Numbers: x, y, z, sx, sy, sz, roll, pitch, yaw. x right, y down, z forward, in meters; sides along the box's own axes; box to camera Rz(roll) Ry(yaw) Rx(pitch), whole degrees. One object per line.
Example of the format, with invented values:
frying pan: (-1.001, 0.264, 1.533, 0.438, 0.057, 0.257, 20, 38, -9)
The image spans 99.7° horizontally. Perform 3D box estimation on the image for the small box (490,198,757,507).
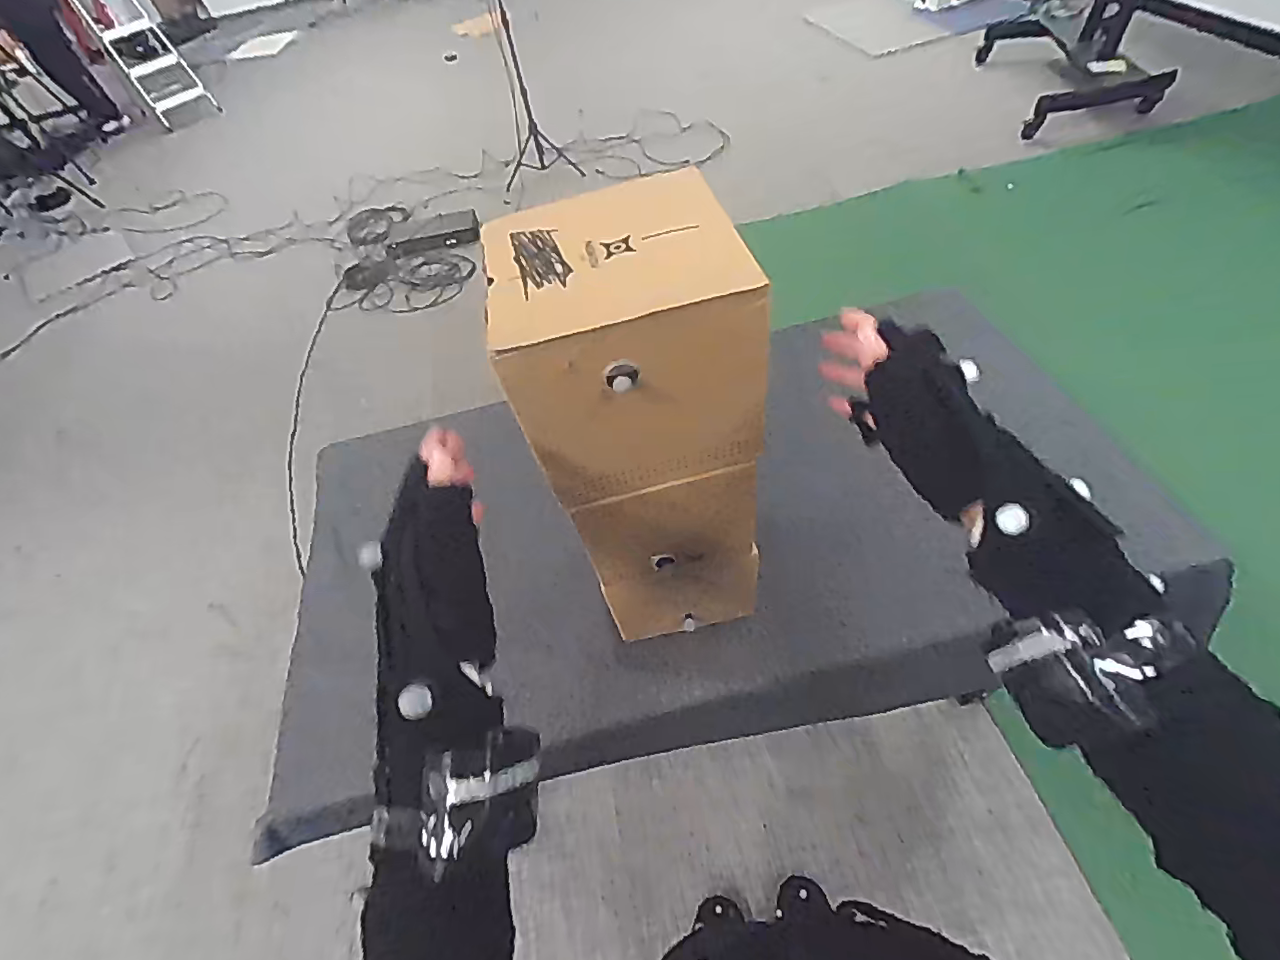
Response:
small box: (-0.010, -0.097, 0.452, 0.179, 0.176, 0.168, -14, 53, 0)

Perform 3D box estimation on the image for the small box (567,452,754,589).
small box: (0.012, -0.012, 0.570, 0.168, 0.176, 0.179, -15, 54, 0)

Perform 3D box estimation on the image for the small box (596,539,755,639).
small box: (0.036, 0.086, 0.698, 0.179, 0.176, 0.168, -12, 53, -1)
